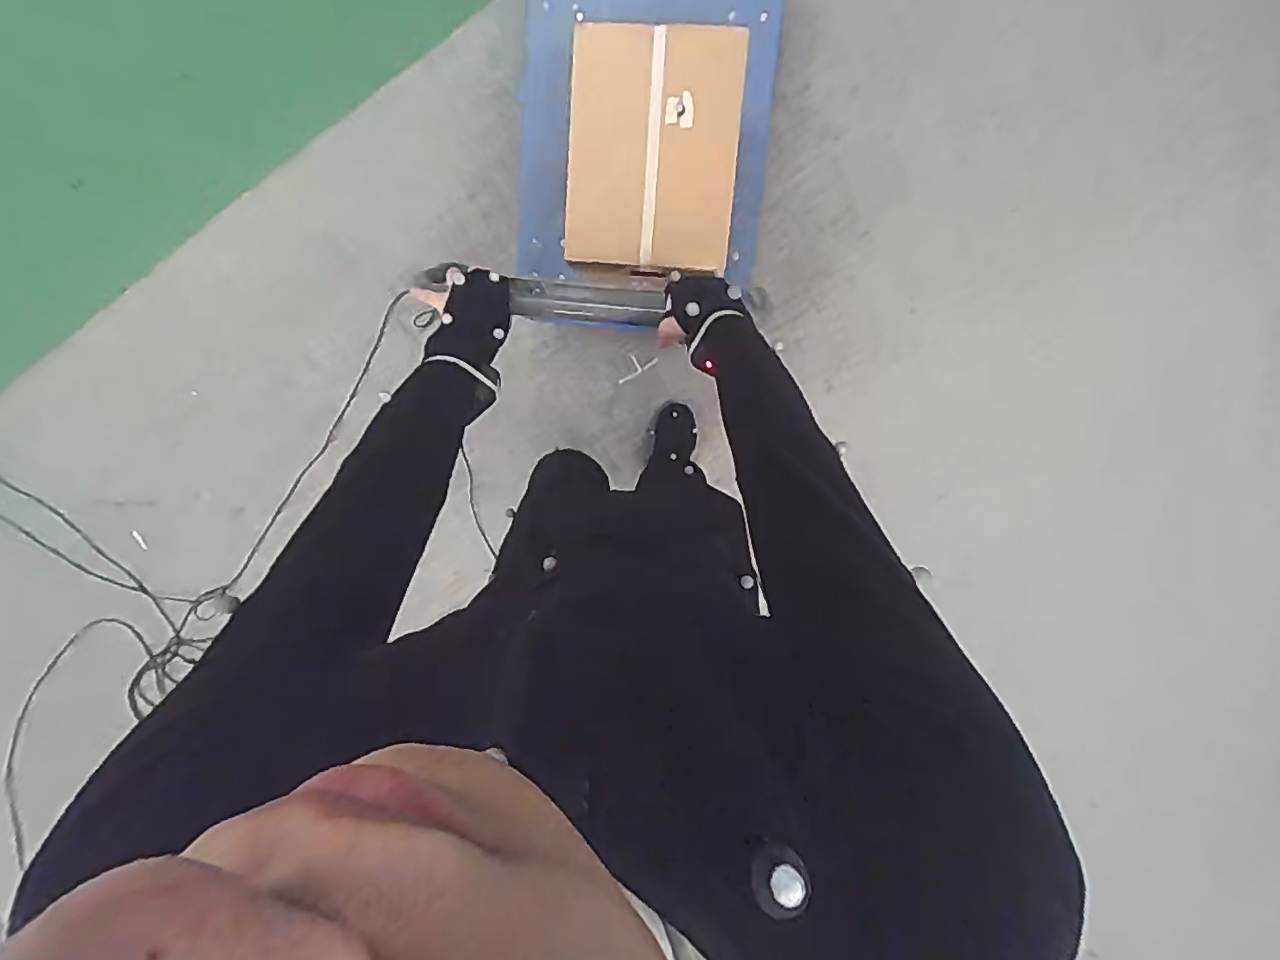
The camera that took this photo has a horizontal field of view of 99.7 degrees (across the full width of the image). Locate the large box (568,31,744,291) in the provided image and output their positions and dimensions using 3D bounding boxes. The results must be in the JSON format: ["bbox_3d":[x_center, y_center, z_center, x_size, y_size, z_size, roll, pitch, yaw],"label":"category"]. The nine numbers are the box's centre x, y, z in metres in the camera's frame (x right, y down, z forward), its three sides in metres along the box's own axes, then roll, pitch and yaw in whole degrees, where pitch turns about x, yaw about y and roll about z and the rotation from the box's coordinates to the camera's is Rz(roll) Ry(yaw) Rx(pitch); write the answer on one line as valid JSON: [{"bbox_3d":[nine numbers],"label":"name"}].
[{"bbox_3d":[0.034,-0.642,1.163,0.320,0.320,0.408,5,101,2],"label":"large box"}]
